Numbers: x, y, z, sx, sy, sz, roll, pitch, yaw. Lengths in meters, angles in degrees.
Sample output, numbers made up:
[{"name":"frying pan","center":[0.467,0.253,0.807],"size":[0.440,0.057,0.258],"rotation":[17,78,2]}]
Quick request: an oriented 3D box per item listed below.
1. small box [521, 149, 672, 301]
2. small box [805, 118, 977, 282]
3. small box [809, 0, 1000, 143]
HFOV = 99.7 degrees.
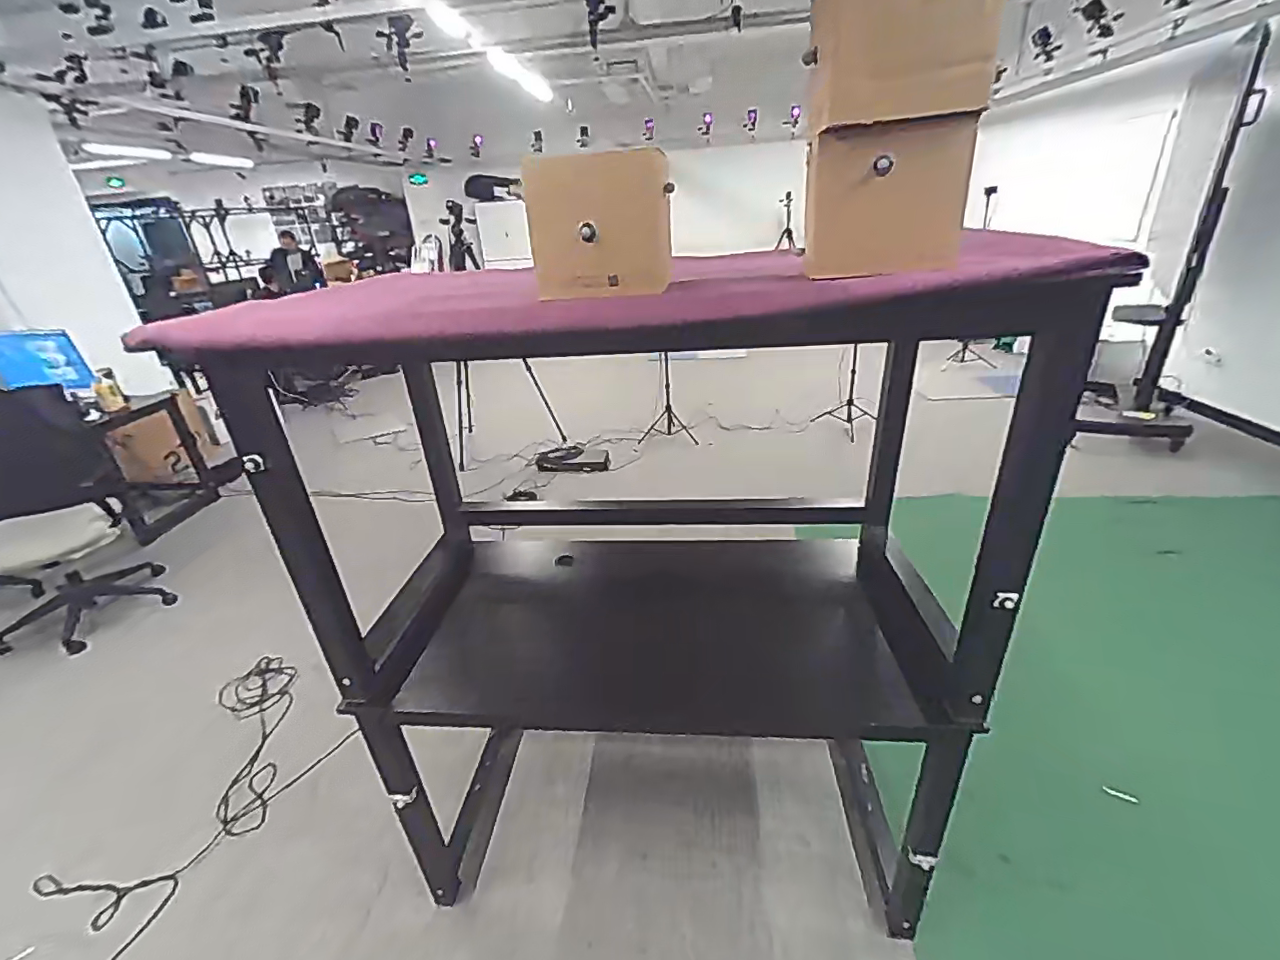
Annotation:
[{"name":"small box","center":[-0.046,-0.343,0.740],"size":[0.168,0.176,0.179],"rotation":[1,27,8]},{"name":"small box","center":[0.317,-0.361,0.723],"size":[0.179,0.176,0.168],"rotation":[1,25,12]},{"name":"small box","center":[0.301,-0.502,0.642],"size":[0.179,0.176,0.168],"rotation":[-1,25,8]}]
